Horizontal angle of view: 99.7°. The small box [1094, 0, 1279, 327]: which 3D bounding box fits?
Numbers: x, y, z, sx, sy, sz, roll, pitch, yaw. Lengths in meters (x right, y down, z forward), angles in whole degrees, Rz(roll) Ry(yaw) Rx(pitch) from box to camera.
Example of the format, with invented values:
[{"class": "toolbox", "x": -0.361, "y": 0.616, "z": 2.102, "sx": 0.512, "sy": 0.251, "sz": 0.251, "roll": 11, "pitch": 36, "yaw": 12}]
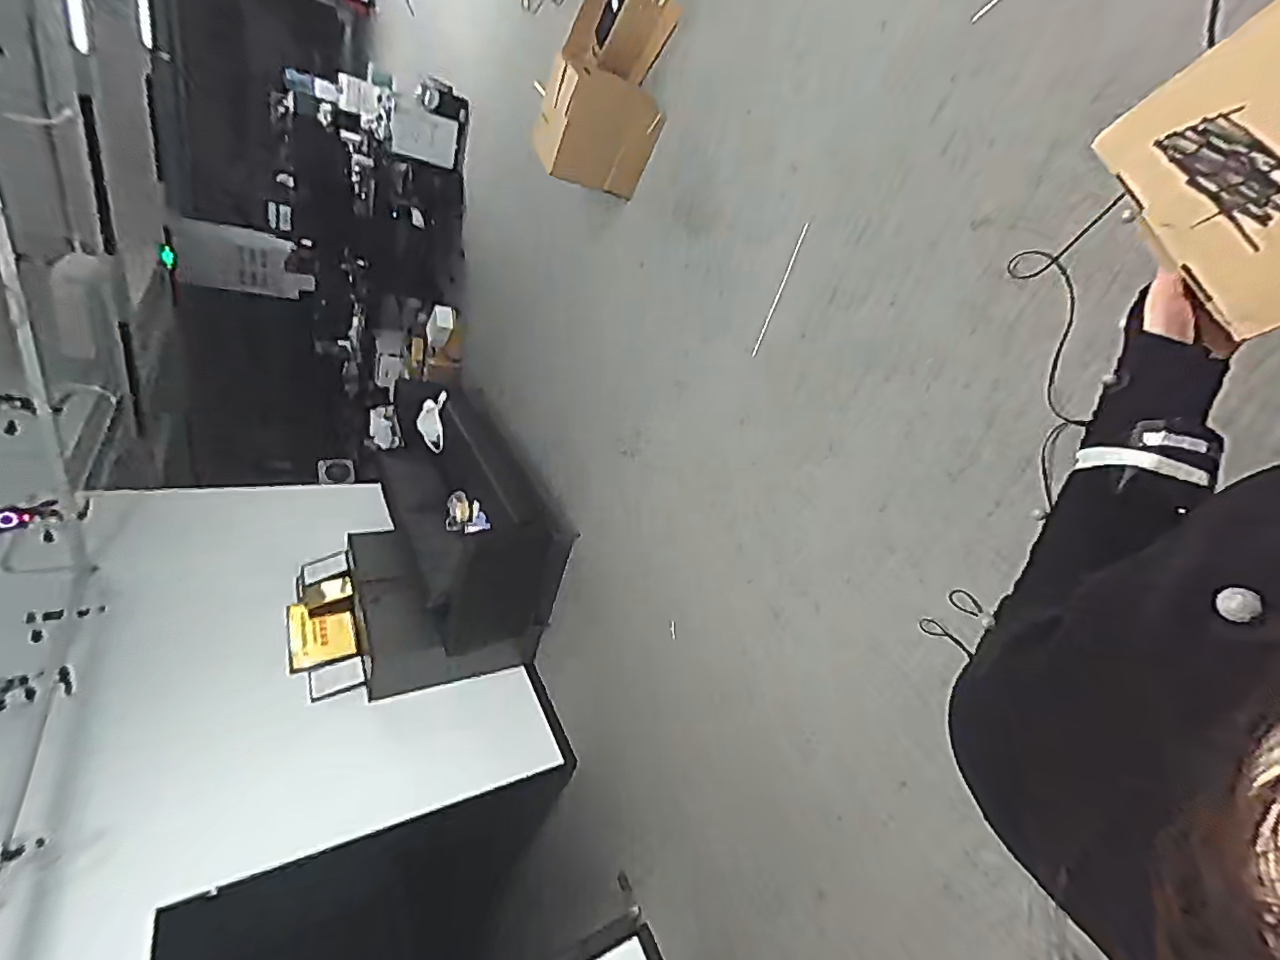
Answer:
[{"class": "small box", "x": 0.446, "y": -0.214, "z": 0.345, "sx": 0.179, "sy": 0.176, "sz": 0.168, "roll": -35, "pitch": 75, "yaw": 46}]
